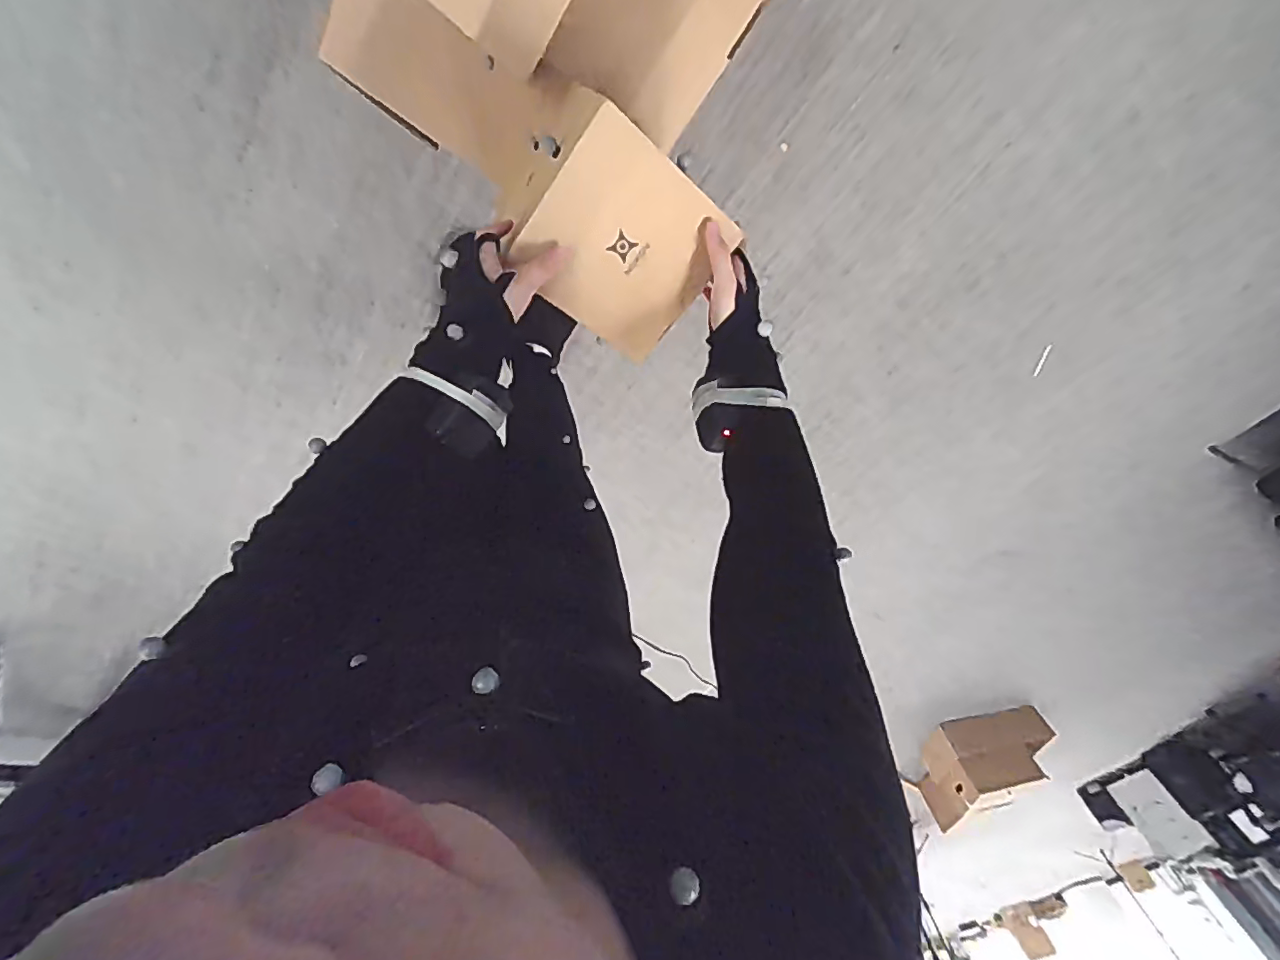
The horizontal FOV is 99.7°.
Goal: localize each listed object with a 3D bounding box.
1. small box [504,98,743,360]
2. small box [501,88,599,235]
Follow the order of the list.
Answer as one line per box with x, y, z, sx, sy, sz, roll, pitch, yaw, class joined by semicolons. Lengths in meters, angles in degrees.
-0.030;-0.265;0.572;0.179;0.176;0.168;27;116;-33;small box
-0.068;-0.366;0.696;0.168;0.176;0.179;27;117;-31;small box
